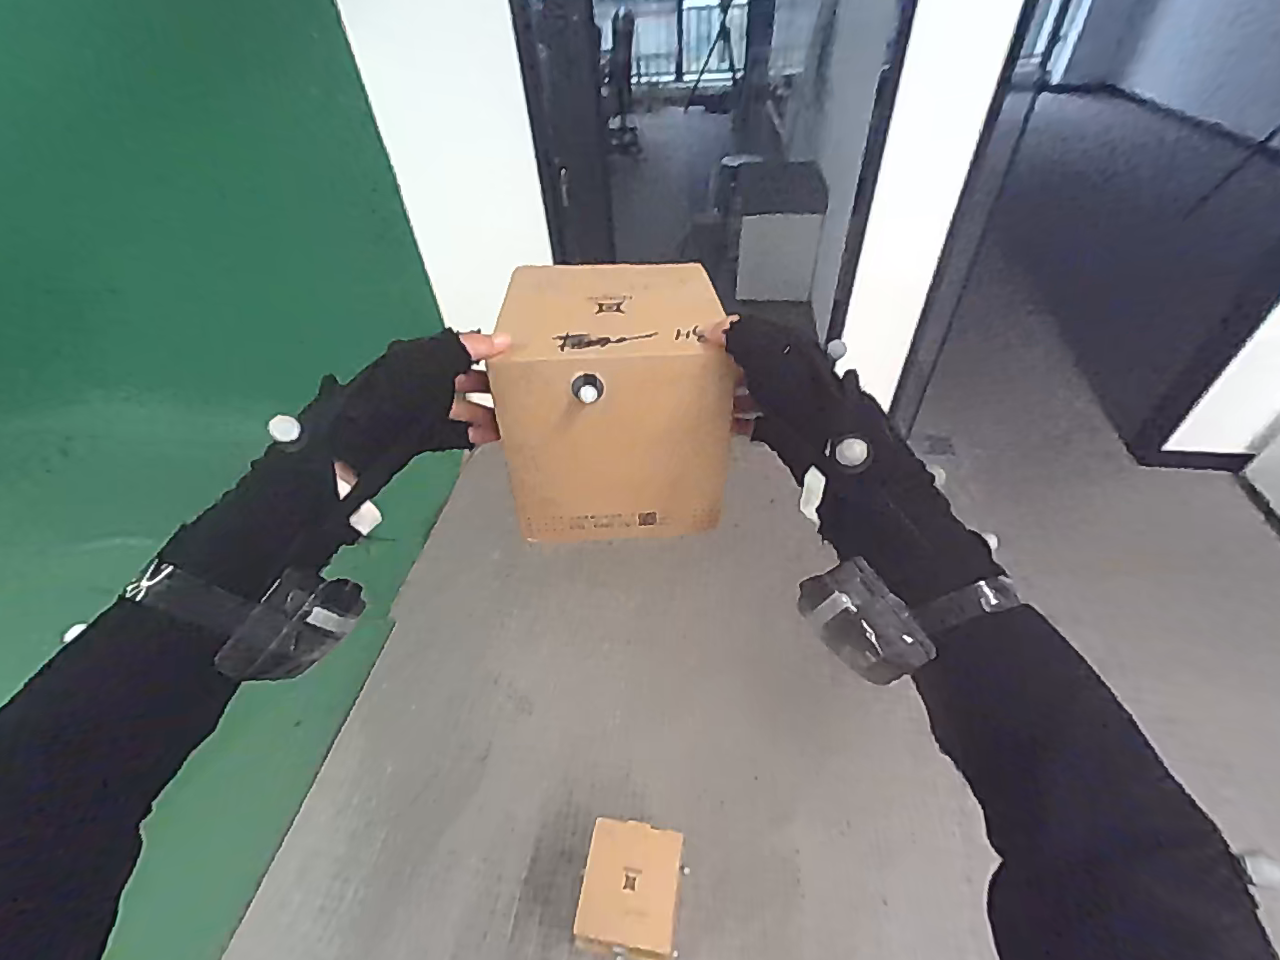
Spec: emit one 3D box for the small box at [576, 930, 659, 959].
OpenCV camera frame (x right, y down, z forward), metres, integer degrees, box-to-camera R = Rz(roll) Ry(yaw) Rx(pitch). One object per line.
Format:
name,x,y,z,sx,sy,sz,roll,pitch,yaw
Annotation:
small box,-0.015,0.874,1.109,0.179,0.176,0.168,4,44,11

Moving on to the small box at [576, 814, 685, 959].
small box,-0.008,0.754,1.002,0.168,0.176,0.179,3,45,10

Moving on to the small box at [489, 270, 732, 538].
small box,-0.022,-0.070,0.472,0.168,0.176,0.179,-3,39,-2
